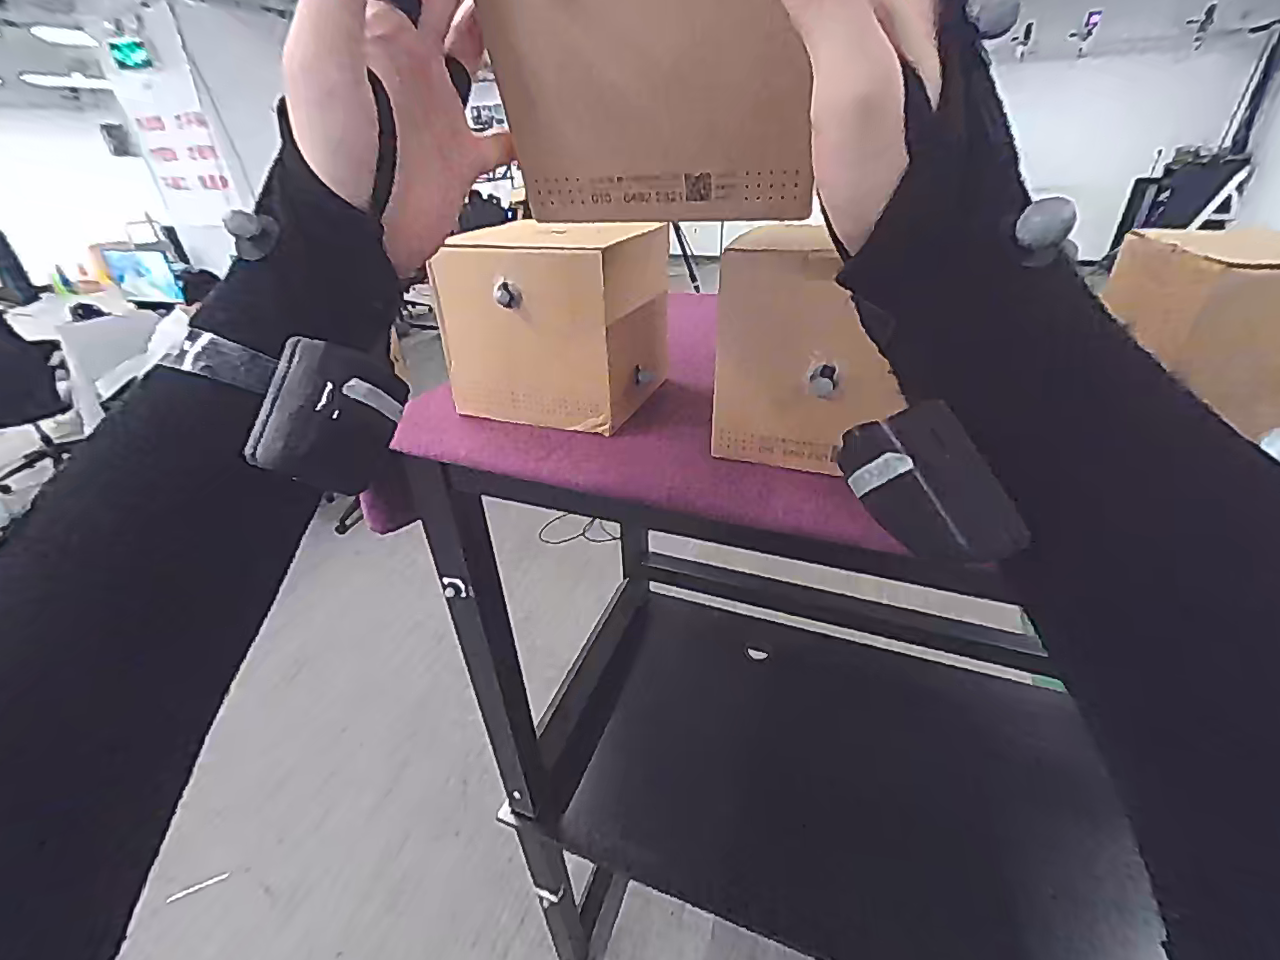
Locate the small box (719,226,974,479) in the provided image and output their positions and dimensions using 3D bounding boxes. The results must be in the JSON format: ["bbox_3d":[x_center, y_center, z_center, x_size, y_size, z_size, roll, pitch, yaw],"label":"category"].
[{"bbox_3d":[0.168,-0.118,0.470,0.168,0.176,0.179,10,33,19],"label":"small box"}]

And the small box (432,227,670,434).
[{"bbox_3d":[-0.076,-0.159,0.556,0.179,0.176,0.168,10,33,18],"label":"small box"}]

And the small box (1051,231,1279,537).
[{"bbox_3d":[0.430,-0.071,0.375,0.179,0.176,0.168,9,31,21],"label":"small box"}]
